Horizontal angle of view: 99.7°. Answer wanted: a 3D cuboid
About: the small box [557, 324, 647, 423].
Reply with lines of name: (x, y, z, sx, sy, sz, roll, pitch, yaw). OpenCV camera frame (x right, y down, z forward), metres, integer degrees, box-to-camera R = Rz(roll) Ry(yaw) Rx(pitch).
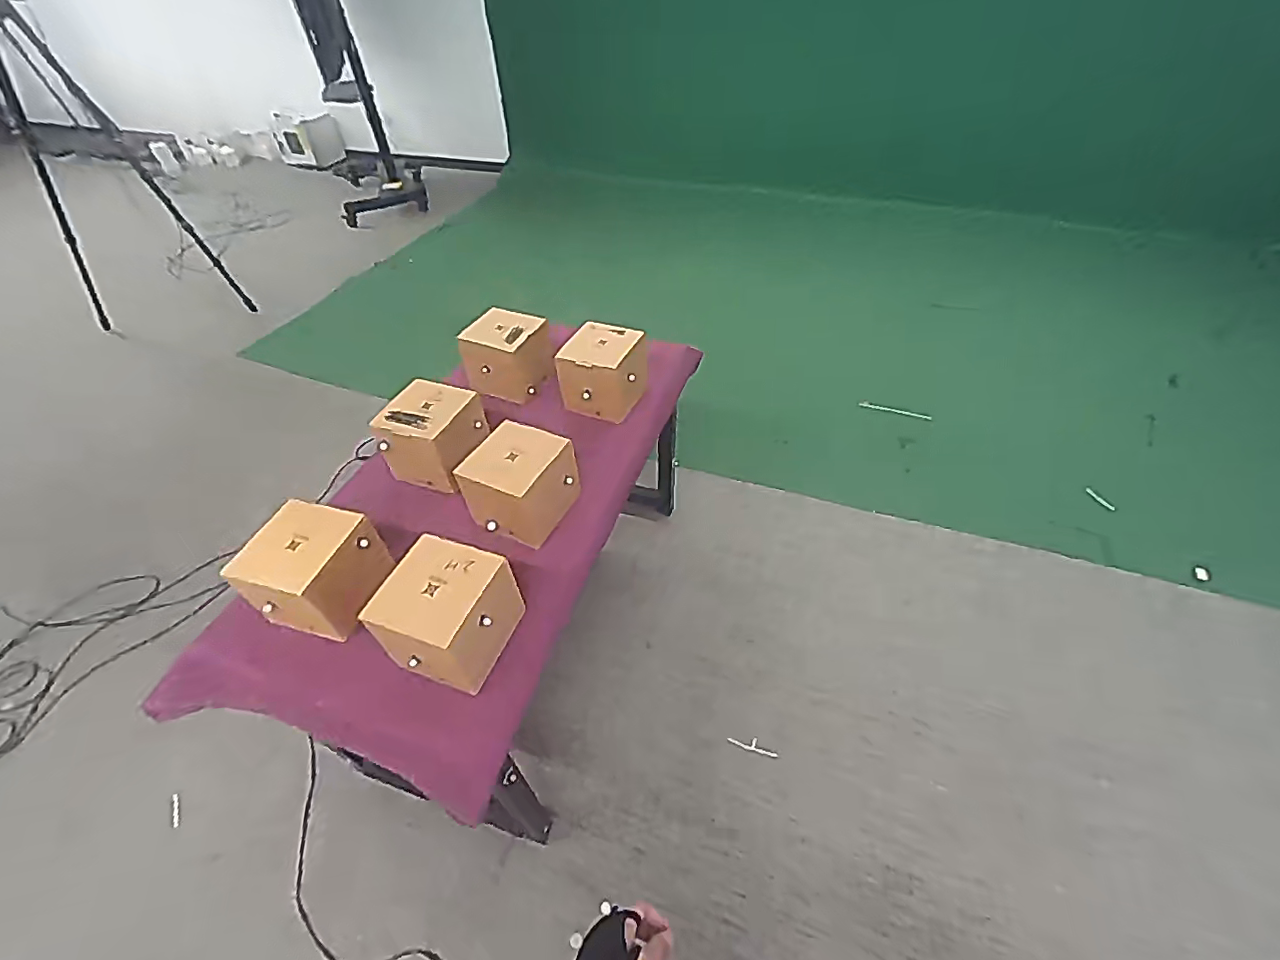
small box: (-0.086, -0.269, 1.378, 0.168, 0.176, 0.179, 17, 50, 19)

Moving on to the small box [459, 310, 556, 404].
small box: (-0.343, -0.325, 1.445, 0.179, 0.176, 0.168, 17, 50, 19)

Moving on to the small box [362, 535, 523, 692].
small box: (-0.317, 0.228, 0.913, 0.168, 0.176, 0.179, 14, 48, 16)

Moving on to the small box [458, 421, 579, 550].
small box: (-0.239, 0.011, 1.121, 0.168, 0.176, 0.179, 19, 51, 21)

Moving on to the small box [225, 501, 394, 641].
small box: (-0.585, 0.168, 0.988, 0.168, 0.176, 0.179, 10, 47, 12)
